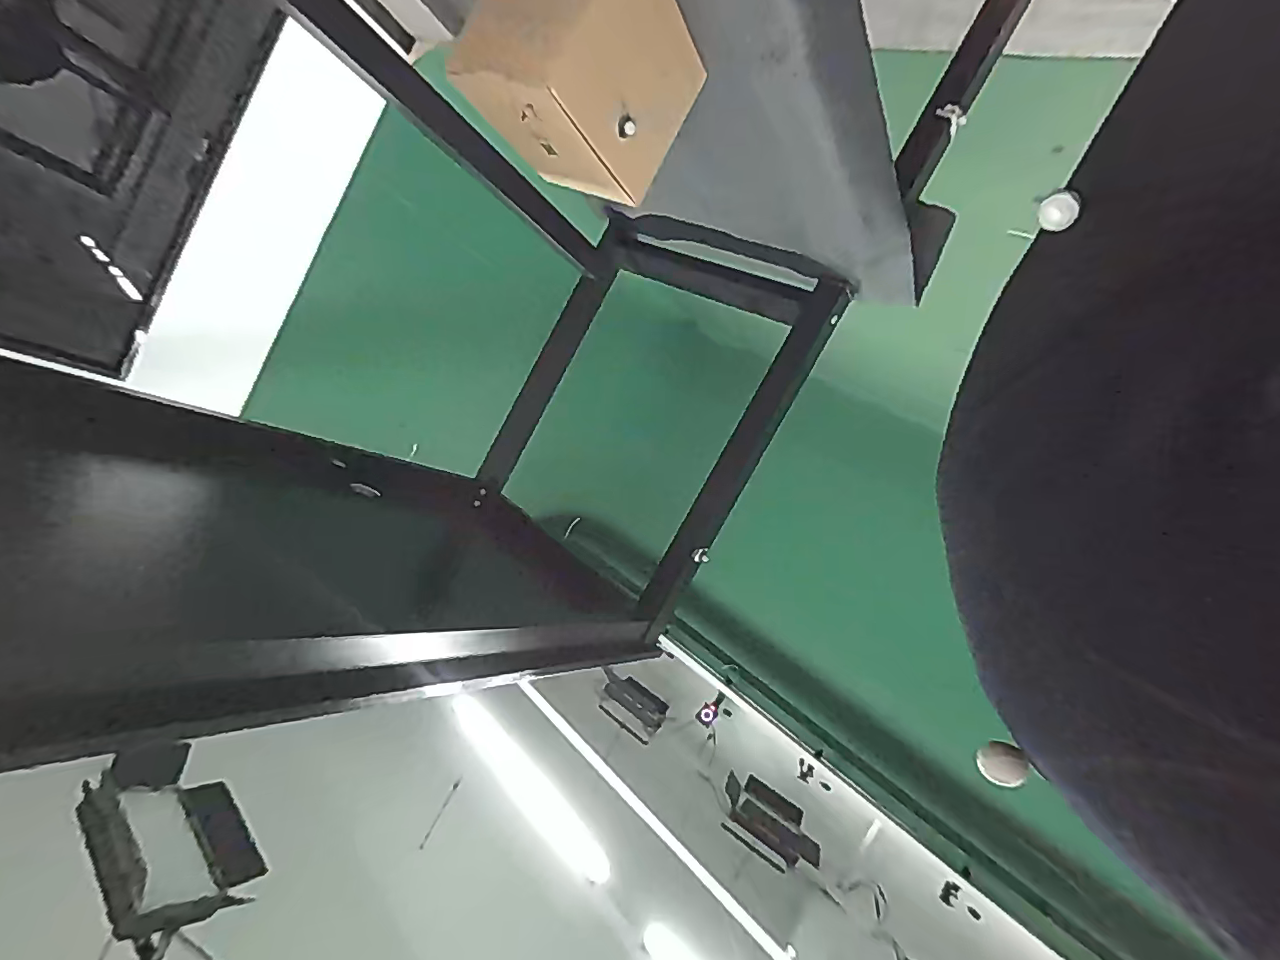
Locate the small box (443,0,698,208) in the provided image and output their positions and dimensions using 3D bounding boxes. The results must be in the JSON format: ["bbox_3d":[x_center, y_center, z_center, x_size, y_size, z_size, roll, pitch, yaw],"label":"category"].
[{"bbox_3d":[-0.064,-0.435,0.579,0.168,0.176,0.179,31,-175,29],"label":"small box"}]
